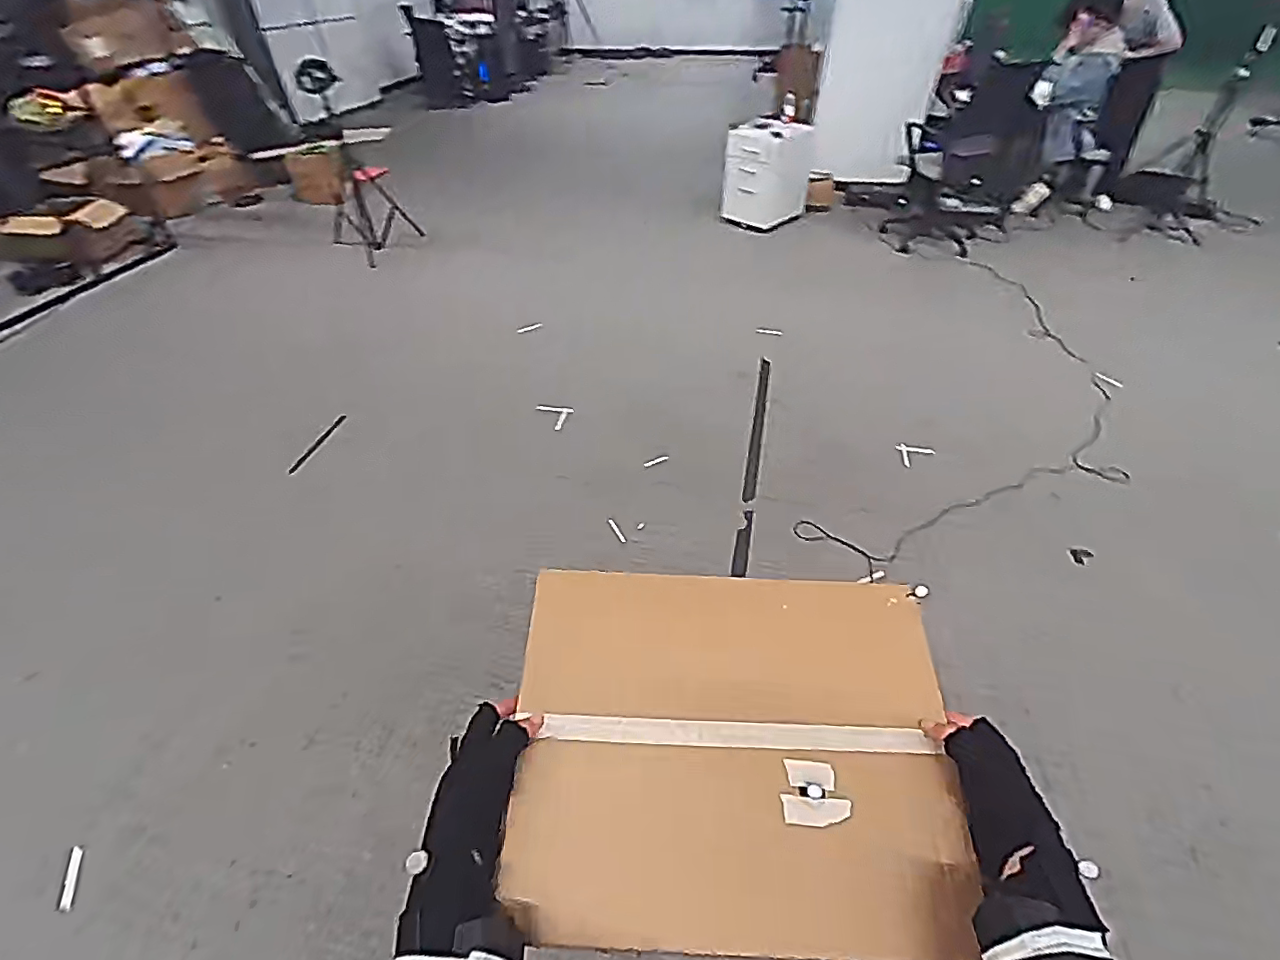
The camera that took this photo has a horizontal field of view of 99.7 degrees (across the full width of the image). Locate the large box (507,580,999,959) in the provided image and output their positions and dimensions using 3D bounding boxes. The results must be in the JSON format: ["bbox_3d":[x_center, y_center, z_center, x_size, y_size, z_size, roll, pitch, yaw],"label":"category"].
[{"bbox_3d":[0.091,0.328,0.635,0.408,0.320,0.320,3,57,1],"label":"large box"}]
